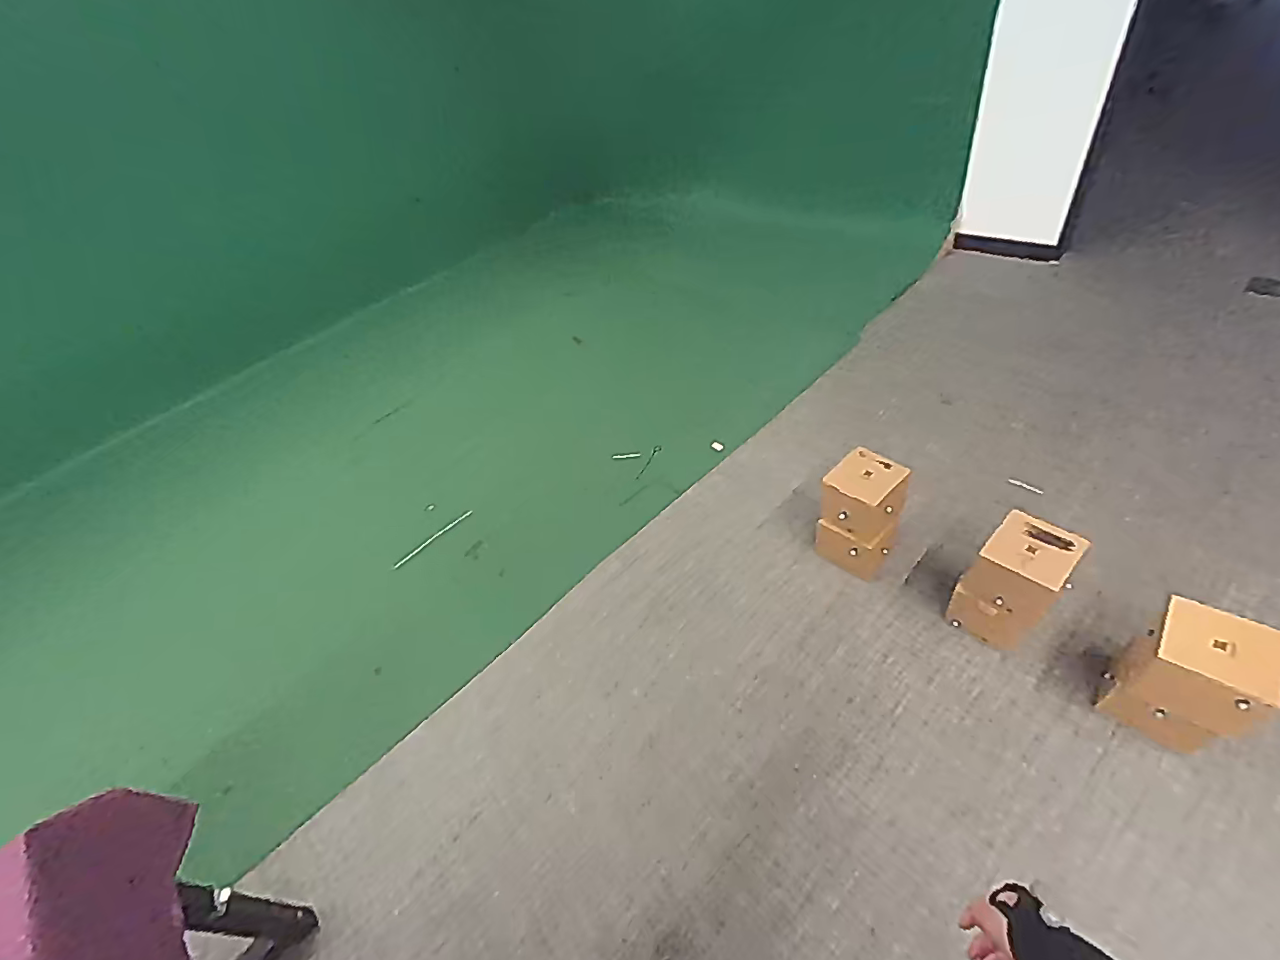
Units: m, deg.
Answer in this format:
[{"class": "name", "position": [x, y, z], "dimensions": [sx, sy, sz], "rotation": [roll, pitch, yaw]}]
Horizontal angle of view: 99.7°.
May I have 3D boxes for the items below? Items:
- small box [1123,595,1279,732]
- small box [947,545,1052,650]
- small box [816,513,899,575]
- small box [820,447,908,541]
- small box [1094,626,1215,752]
[{"class": "small box", "position": [1.123, 0.371, 1.088], "dimensions": [0.179, 0.176, 0.168], "rotation": [24, 59, 33]}, {"class": "small box", "position": [0.940, 0.314, 1.431], "dimensions": [0.179, 0.176, 0.168], "rotation": [-40, 49, -22]}, {"class": "small box", "position": [0.663, 0.165, 1.660], "dimensions": [0.168, 0.176, 0.179], "rotation": [-41, 49, -22]}, {"class": "small box", "position": [0.639, 0.042, 1.553], "dimensions": [0.179, 0.176, 0.168], "rotation": [-38, 49, -19]}, {"class": "small box", "position": [1.168, 0.470, 1.210], "dimensions": [0.179, 0.176, 0.168], "rotation": [29, 62, 36]}]
